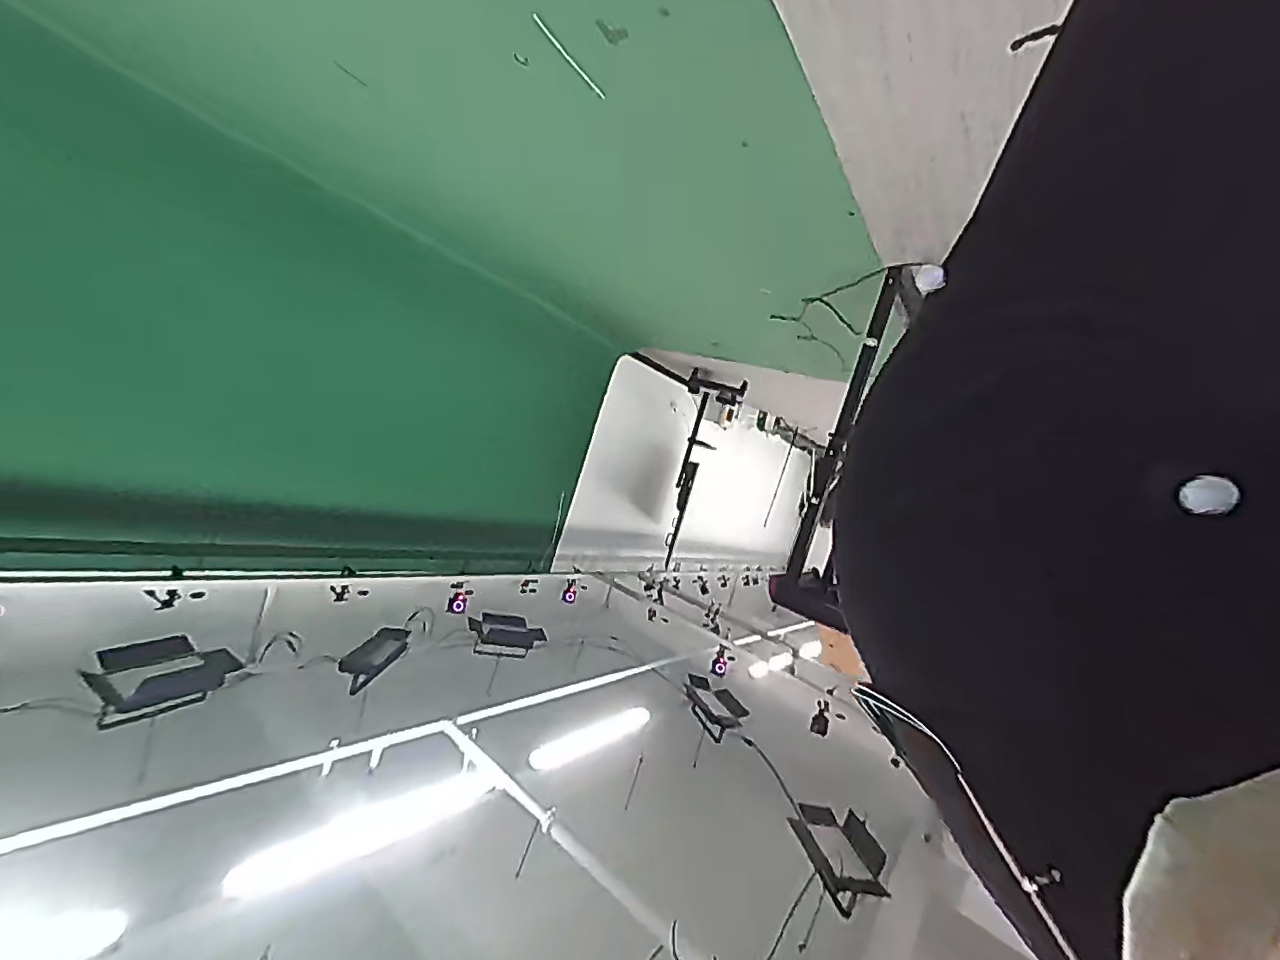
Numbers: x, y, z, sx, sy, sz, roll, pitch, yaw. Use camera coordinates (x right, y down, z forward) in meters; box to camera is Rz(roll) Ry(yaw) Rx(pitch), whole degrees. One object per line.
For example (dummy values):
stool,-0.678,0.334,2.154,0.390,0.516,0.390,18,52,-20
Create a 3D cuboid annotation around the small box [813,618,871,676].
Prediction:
small box,0.835,0.681,2.229,0.168,0.176,0.179,20,-176,31
